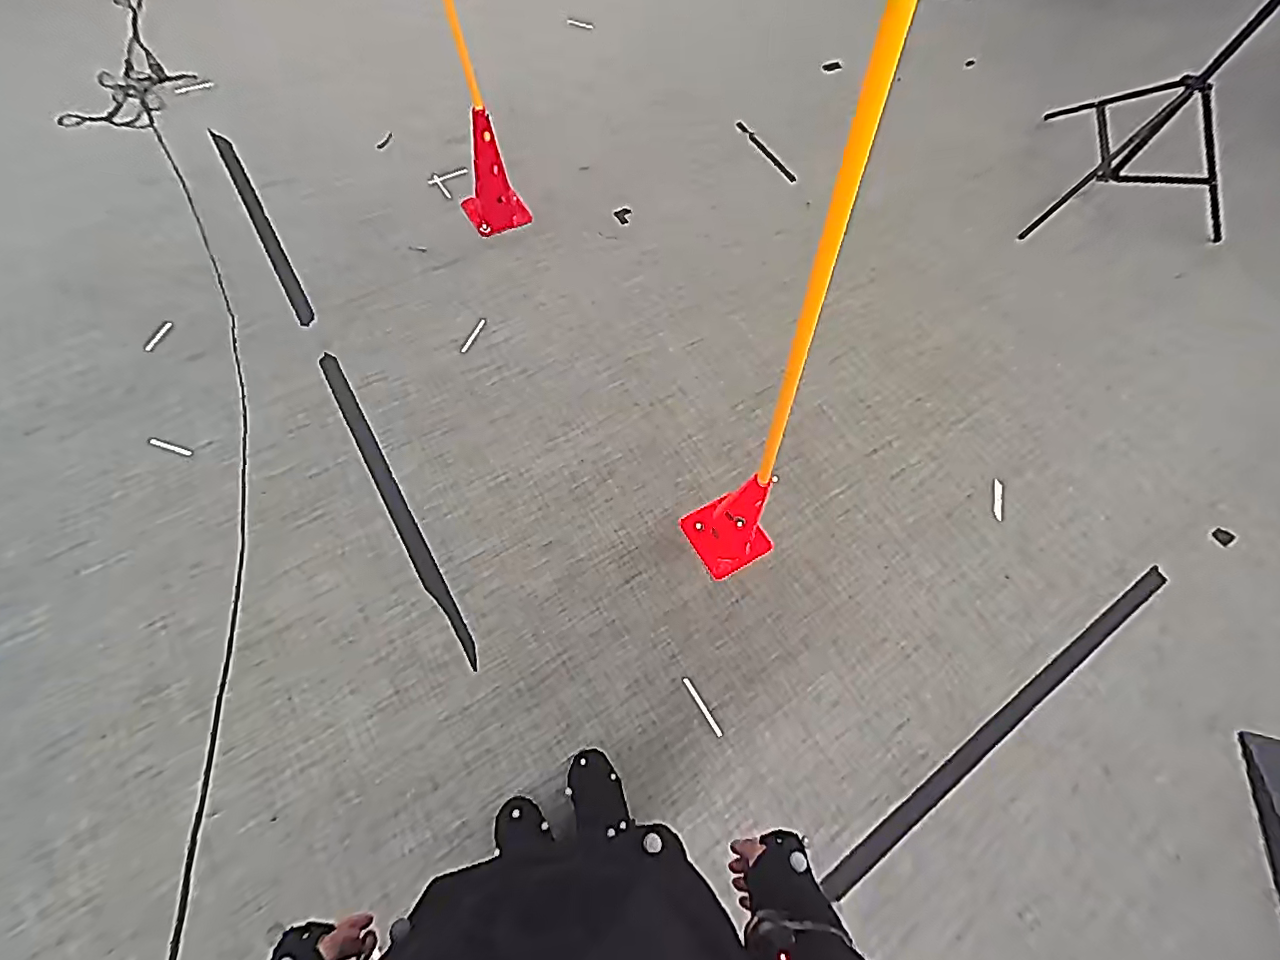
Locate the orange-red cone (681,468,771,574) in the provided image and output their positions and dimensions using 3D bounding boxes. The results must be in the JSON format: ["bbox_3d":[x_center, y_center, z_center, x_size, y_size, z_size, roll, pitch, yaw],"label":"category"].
[{"bbox_3d":[0.247,0.065,1.312,0.198,0.360,0.199,-26,70,-16],"label":"orange-red cone"}]
